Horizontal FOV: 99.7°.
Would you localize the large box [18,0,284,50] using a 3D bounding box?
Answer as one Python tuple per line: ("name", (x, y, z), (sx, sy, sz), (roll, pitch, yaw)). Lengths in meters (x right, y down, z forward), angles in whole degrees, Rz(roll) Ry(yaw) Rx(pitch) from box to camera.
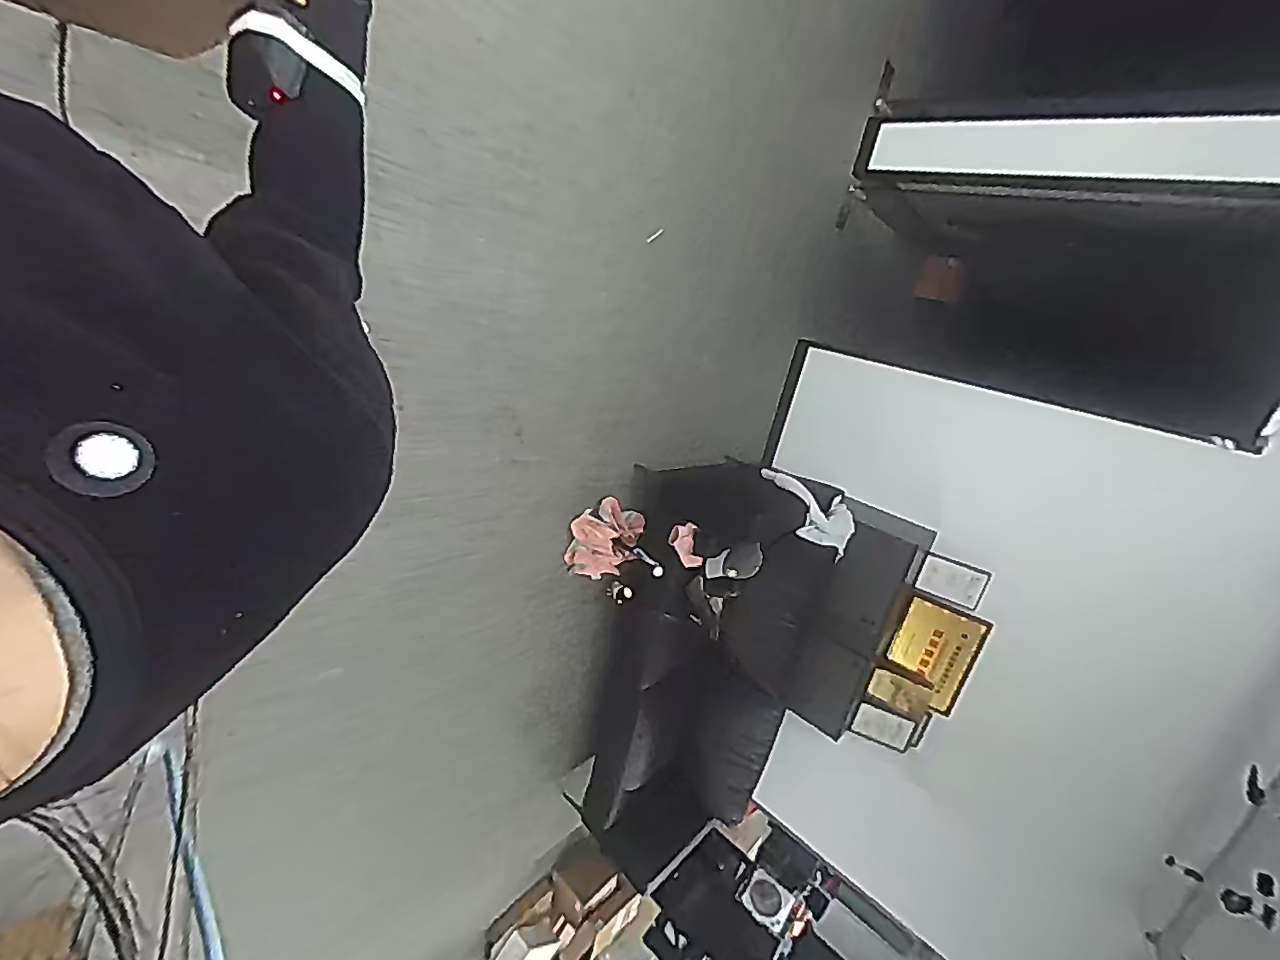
("large box", (-0.478, -0.512, 0.296), (0.408, 0.320, 0.320), (-14, 118, -49))
